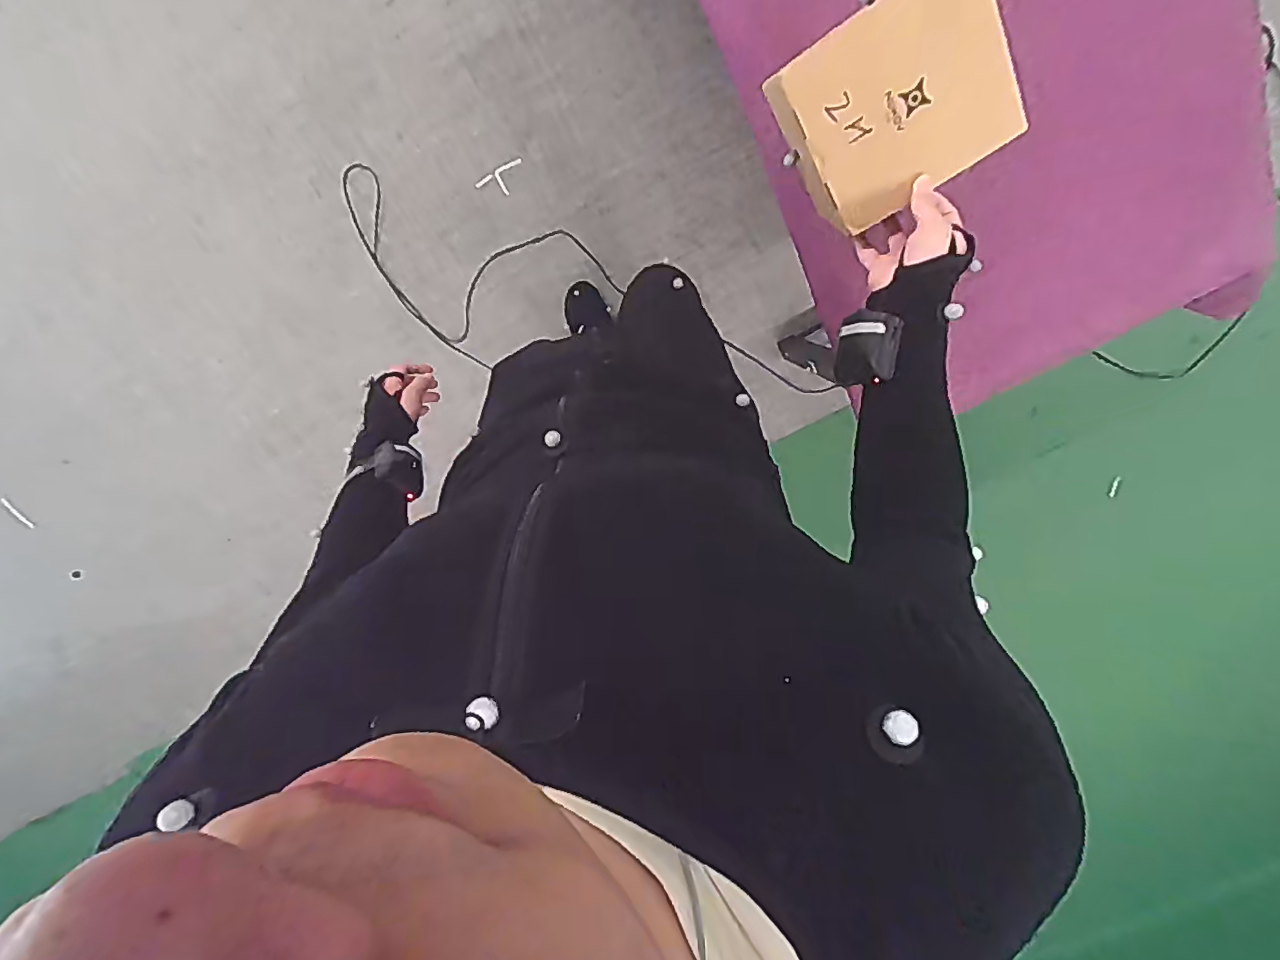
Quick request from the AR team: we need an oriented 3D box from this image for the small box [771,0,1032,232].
[{"bbox_3d":[0.253,-0.394,0.559,0.179,0.176,0.168,-26,117,23],"label":"small box"}]
